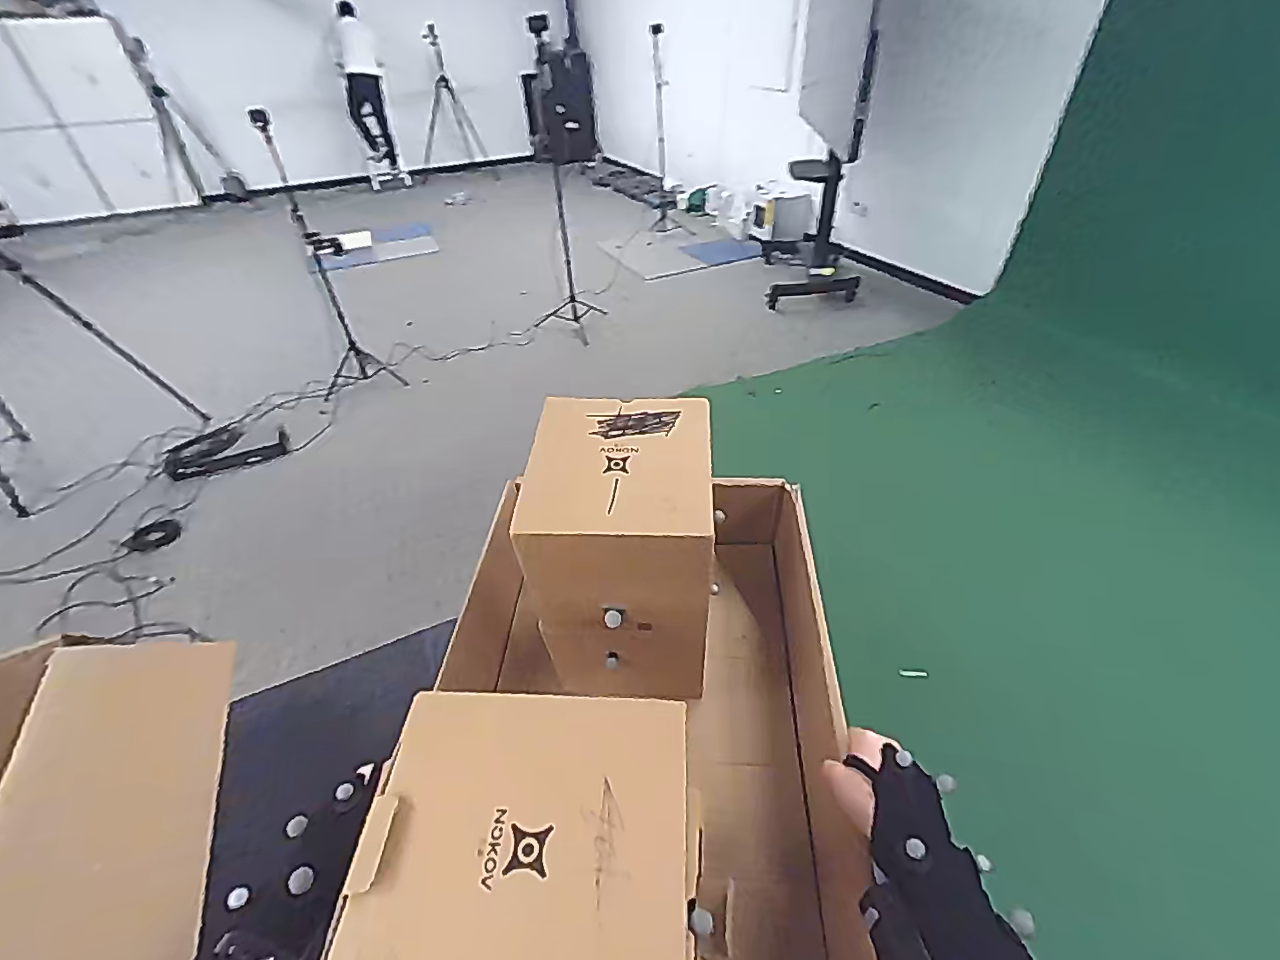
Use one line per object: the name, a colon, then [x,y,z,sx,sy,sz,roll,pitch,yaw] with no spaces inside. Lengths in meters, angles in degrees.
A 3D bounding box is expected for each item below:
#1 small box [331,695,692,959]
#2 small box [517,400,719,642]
small box: [-0.056,0.254,0.345,0.179,0.176,0.168,1,47,4]
small box: [-0.009,0.040,0.542,0.168,0.176,0.179,1,48,5]
